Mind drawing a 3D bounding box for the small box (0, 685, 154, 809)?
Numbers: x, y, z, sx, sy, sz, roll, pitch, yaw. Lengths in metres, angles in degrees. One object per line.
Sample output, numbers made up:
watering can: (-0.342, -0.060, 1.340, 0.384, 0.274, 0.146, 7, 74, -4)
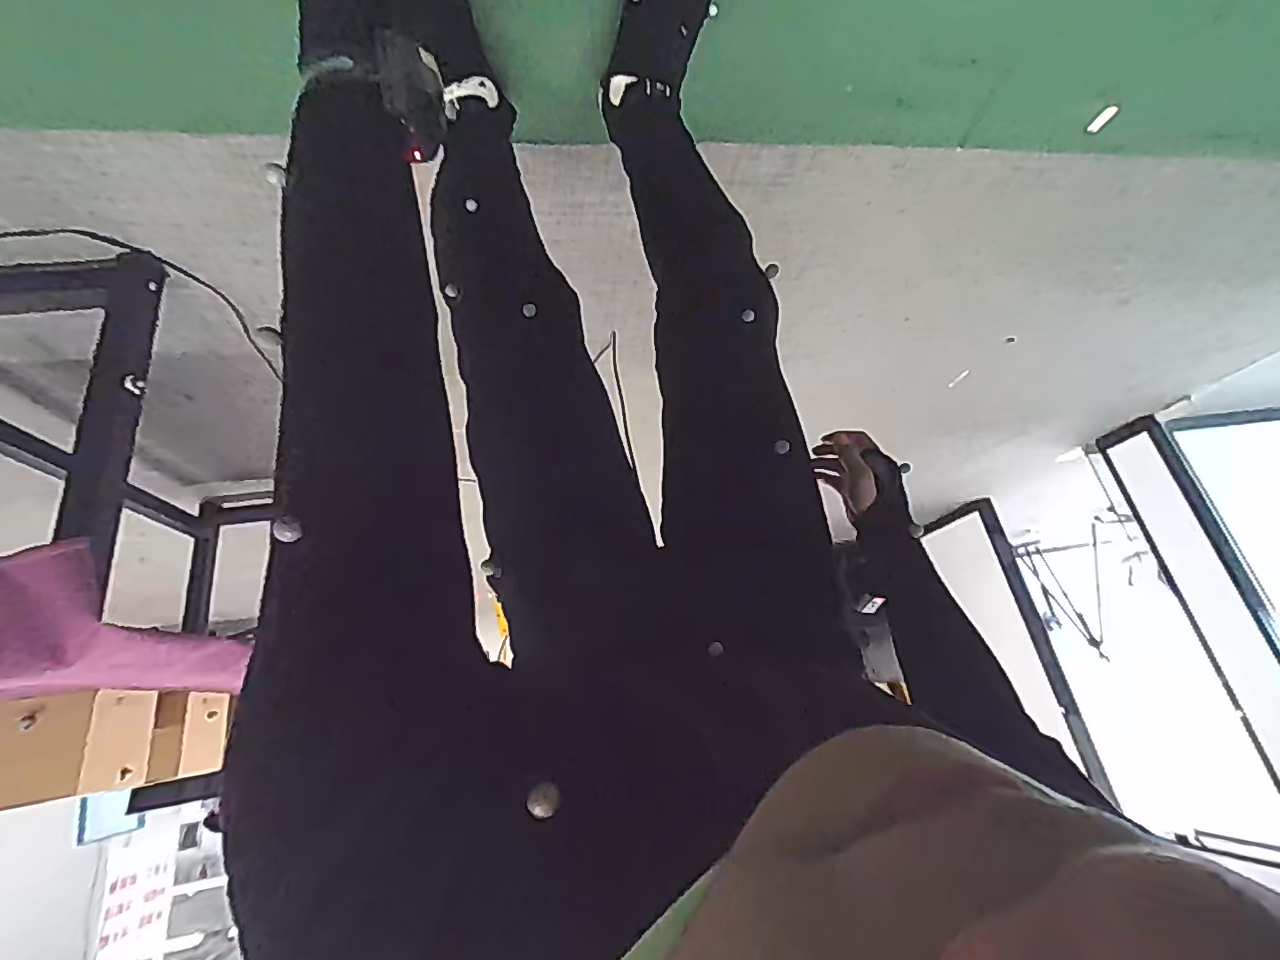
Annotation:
small box: (-1.007, 0.463, 0.943, 0.179, 0.176, 0.168, -4, 159, -12)

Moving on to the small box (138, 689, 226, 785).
small box: (-1.038, 0.557, 1.166, 0.179, 0.176, 0.168, -6, 158, -13)
